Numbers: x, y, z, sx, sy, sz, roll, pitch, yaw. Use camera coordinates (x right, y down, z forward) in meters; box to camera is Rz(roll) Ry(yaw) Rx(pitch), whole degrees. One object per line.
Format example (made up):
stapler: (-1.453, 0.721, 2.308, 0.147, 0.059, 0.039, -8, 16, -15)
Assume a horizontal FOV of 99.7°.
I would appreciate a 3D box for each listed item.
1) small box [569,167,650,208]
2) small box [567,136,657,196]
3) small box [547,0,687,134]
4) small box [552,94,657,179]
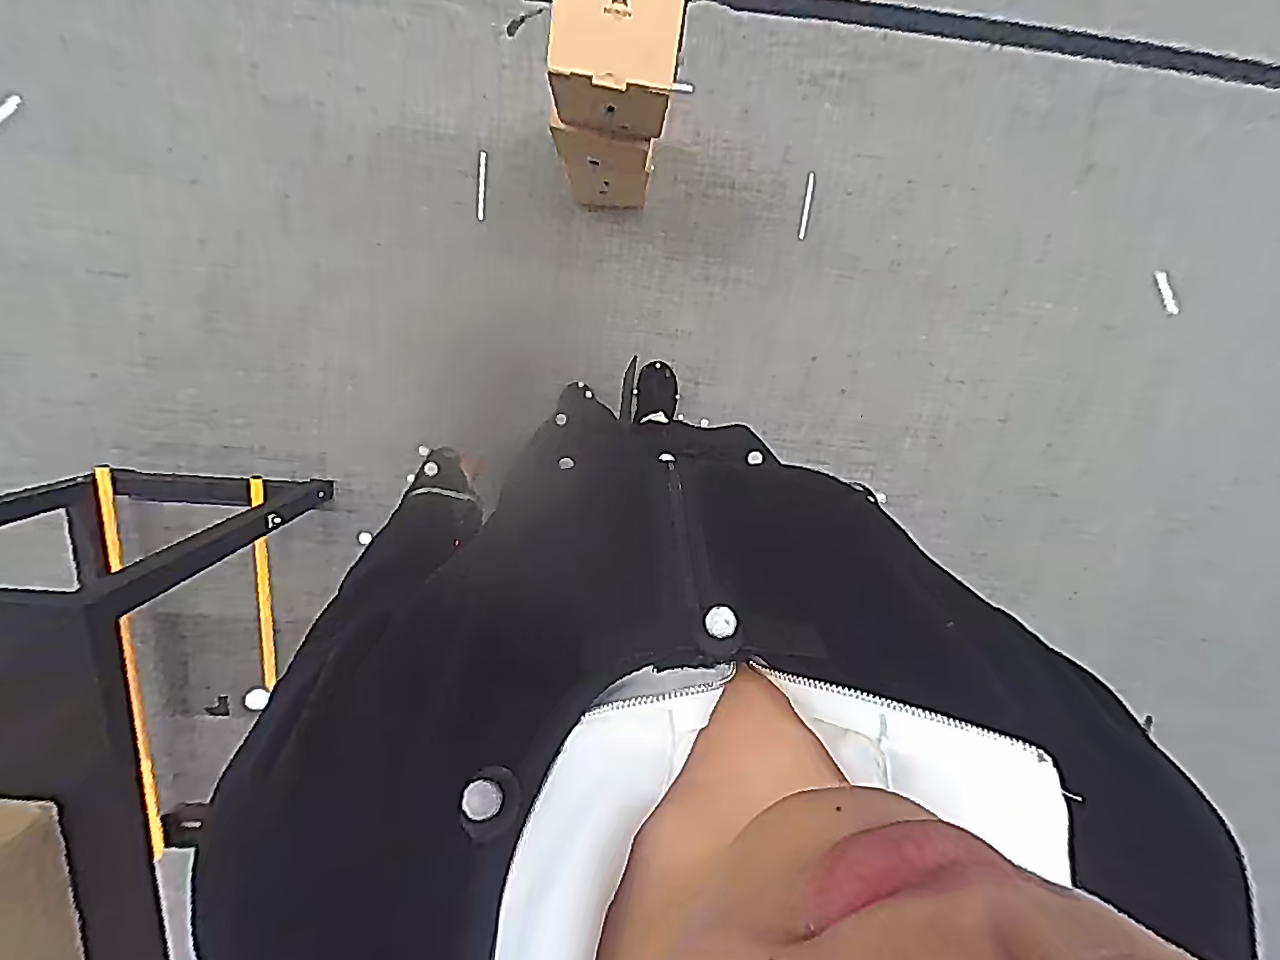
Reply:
small box: (-0.065, -0.727, 1.226, 0.179, 0.176, 0.168, 1, 104, -4)
small box: (-0.052, -0.687, 1.067, 0.168, 0.176, 0.179, 5, 104, -4)
small box: (-0.027, -0.612, 0.750, 0.168, 0.176, 0.179, 8, 104, -4)
small box: (-0.046, -0.639, 0.912, 0.168, 0.176, 0.179, 11, 105, -5)
